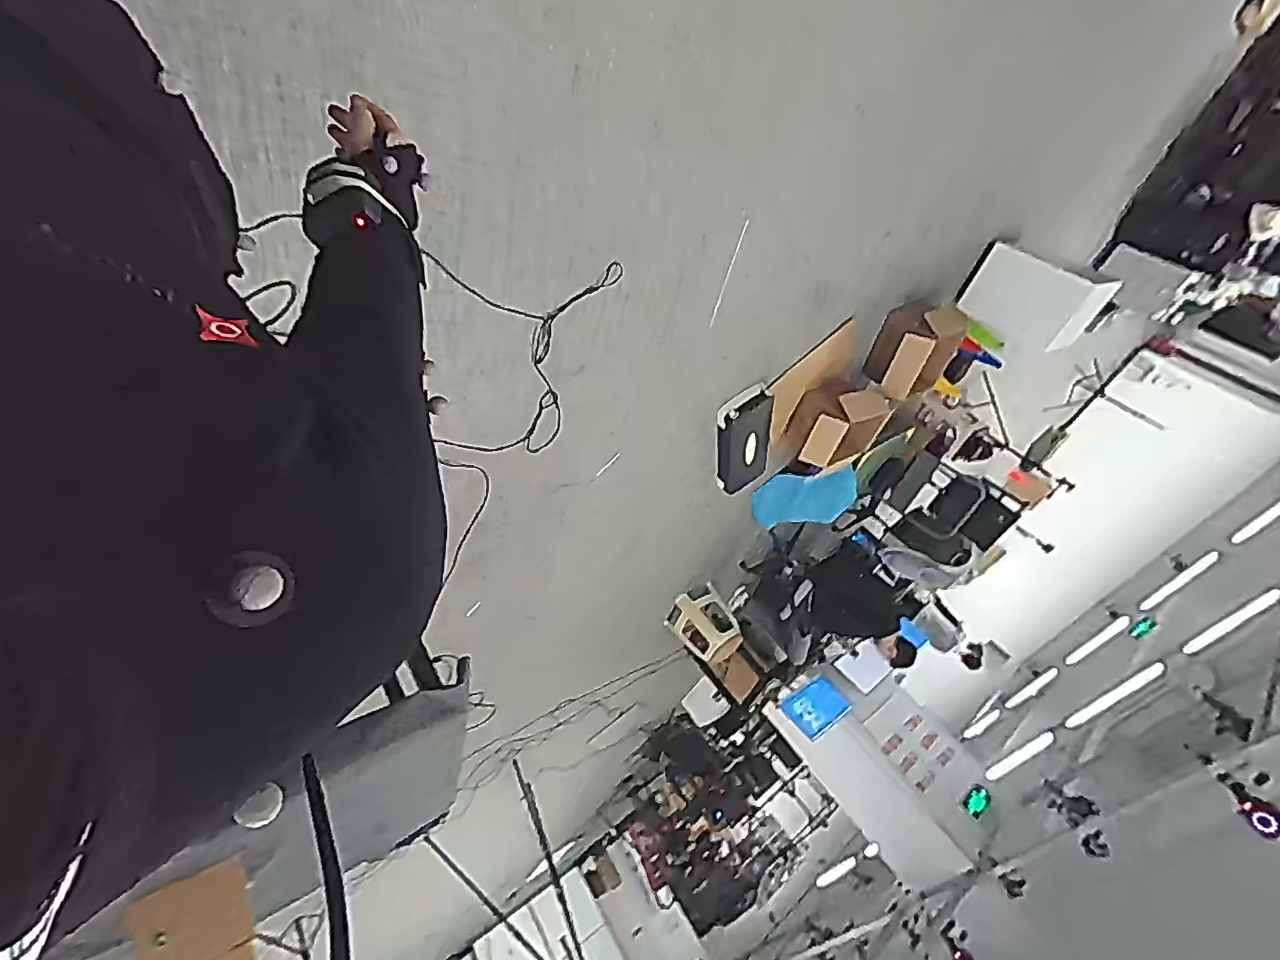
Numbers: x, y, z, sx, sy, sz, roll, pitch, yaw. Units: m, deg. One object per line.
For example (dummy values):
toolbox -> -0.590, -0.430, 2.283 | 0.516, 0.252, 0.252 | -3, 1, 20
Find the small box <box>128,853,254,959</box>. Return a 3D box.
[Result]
small box -> -0.893, 0.900, 1.077 | 0.179, 0.176, 0.168 | -9, 137, -44
